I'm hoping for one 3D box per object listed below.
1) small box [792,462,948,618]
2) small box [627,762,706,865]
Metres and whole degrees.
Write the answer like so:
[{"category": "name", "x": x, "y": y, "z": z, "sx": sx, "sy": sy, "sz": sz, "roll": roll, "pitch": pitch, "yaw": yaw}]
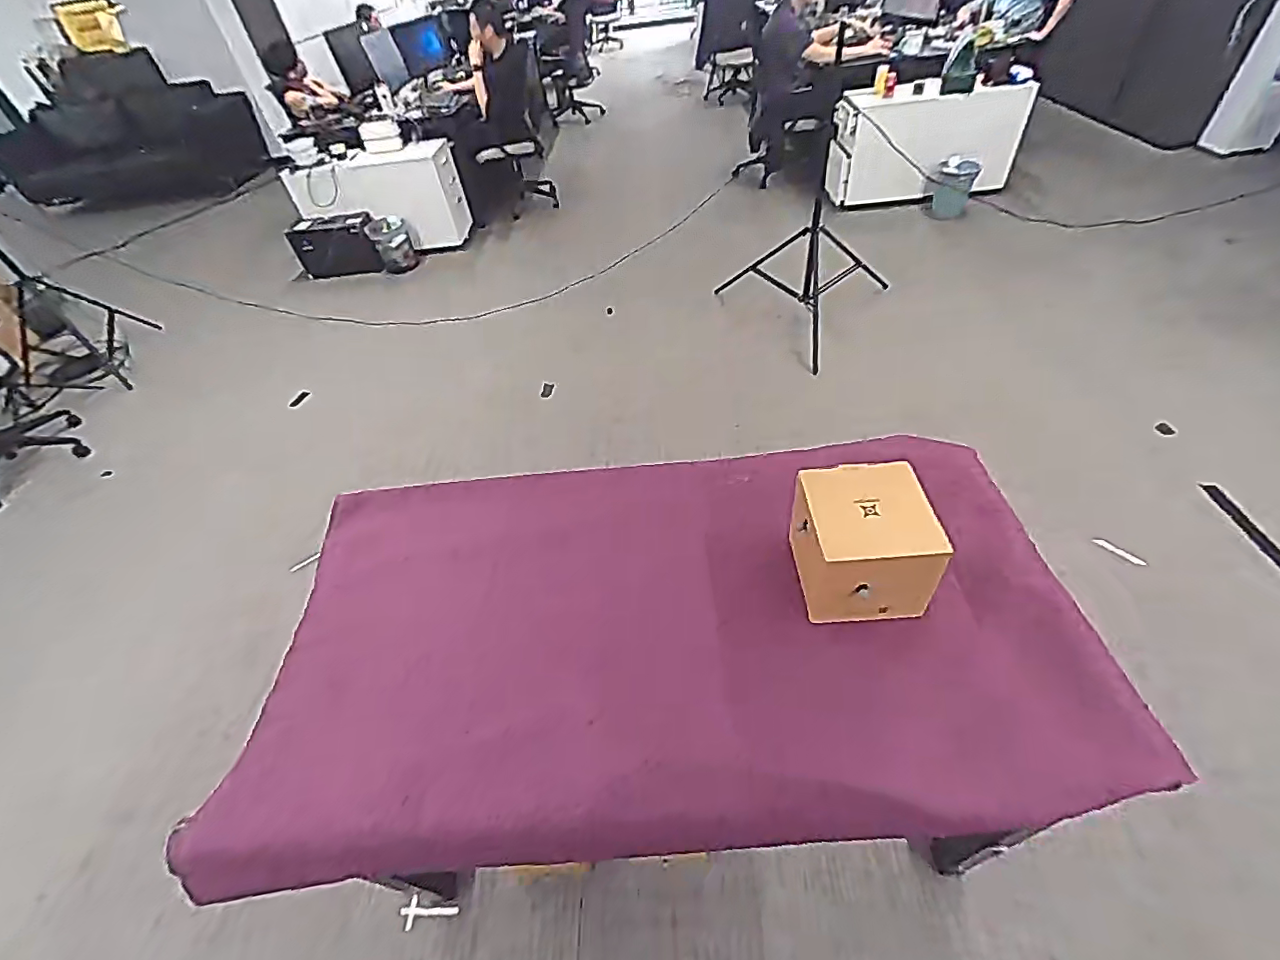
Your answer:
[{"category": "small box", "x": 0.334, "y": 0.098, "z": 0.825, "sx": 0.168, "sy": 0.176, "sz": 0.179, "roll": -5, "pitch": 45, "yaw": 5}, {"category": "small box", "x": 0.063, "y": 0.765, "z": 1.236, "sx": 0.168, "sy": 0.176, "sz": 0.179, "roll": -3, "pitch": 45, "yaw": 4}]
